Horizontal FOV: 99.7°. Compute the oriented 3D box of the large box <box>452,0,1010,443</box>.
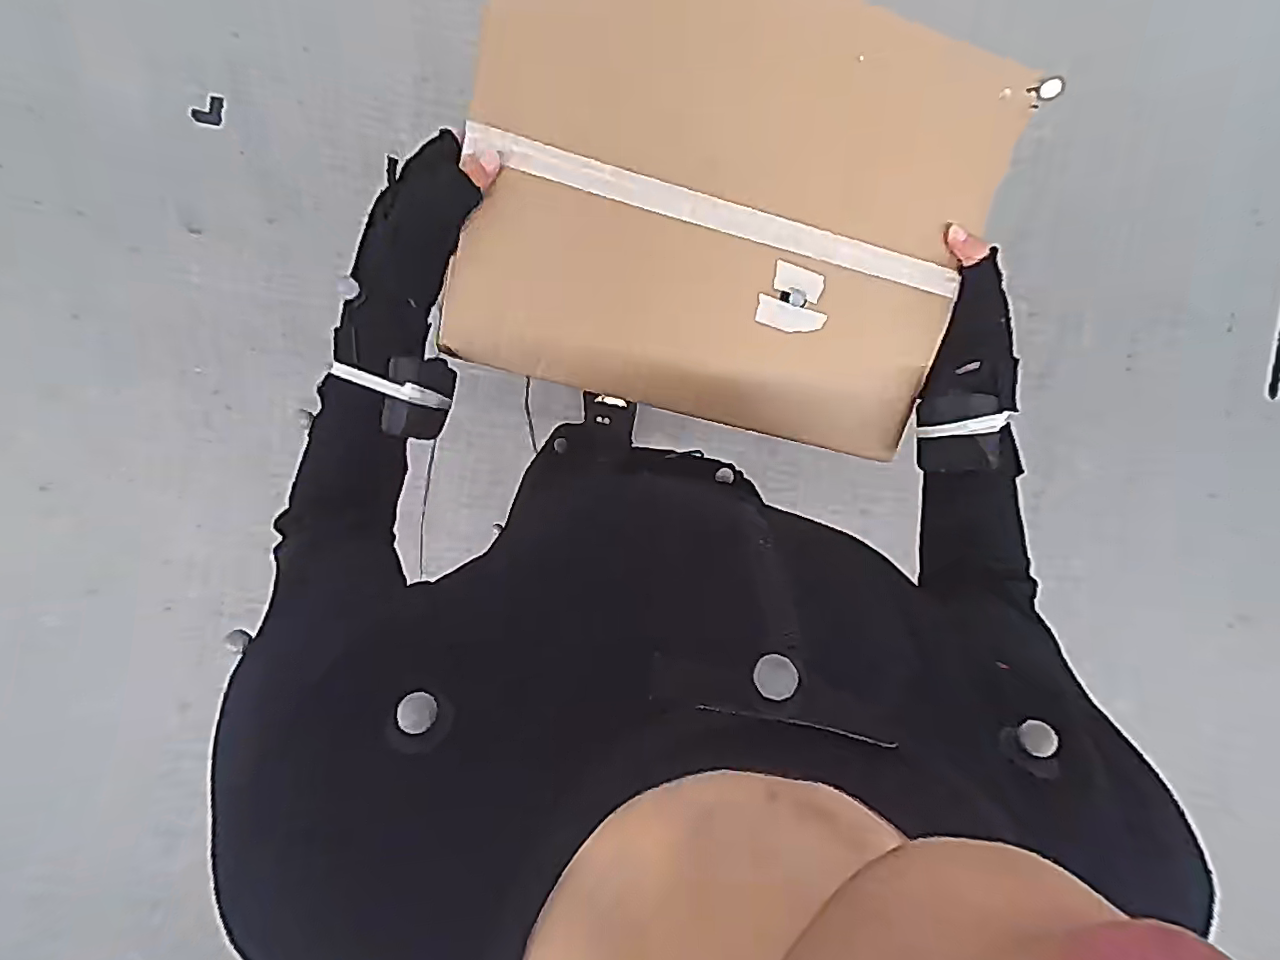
[{"bbox_3d":[0.052,-0.259,0.577,0.408,0.320,0.320,12,108,-10],"label":"large box"}]
